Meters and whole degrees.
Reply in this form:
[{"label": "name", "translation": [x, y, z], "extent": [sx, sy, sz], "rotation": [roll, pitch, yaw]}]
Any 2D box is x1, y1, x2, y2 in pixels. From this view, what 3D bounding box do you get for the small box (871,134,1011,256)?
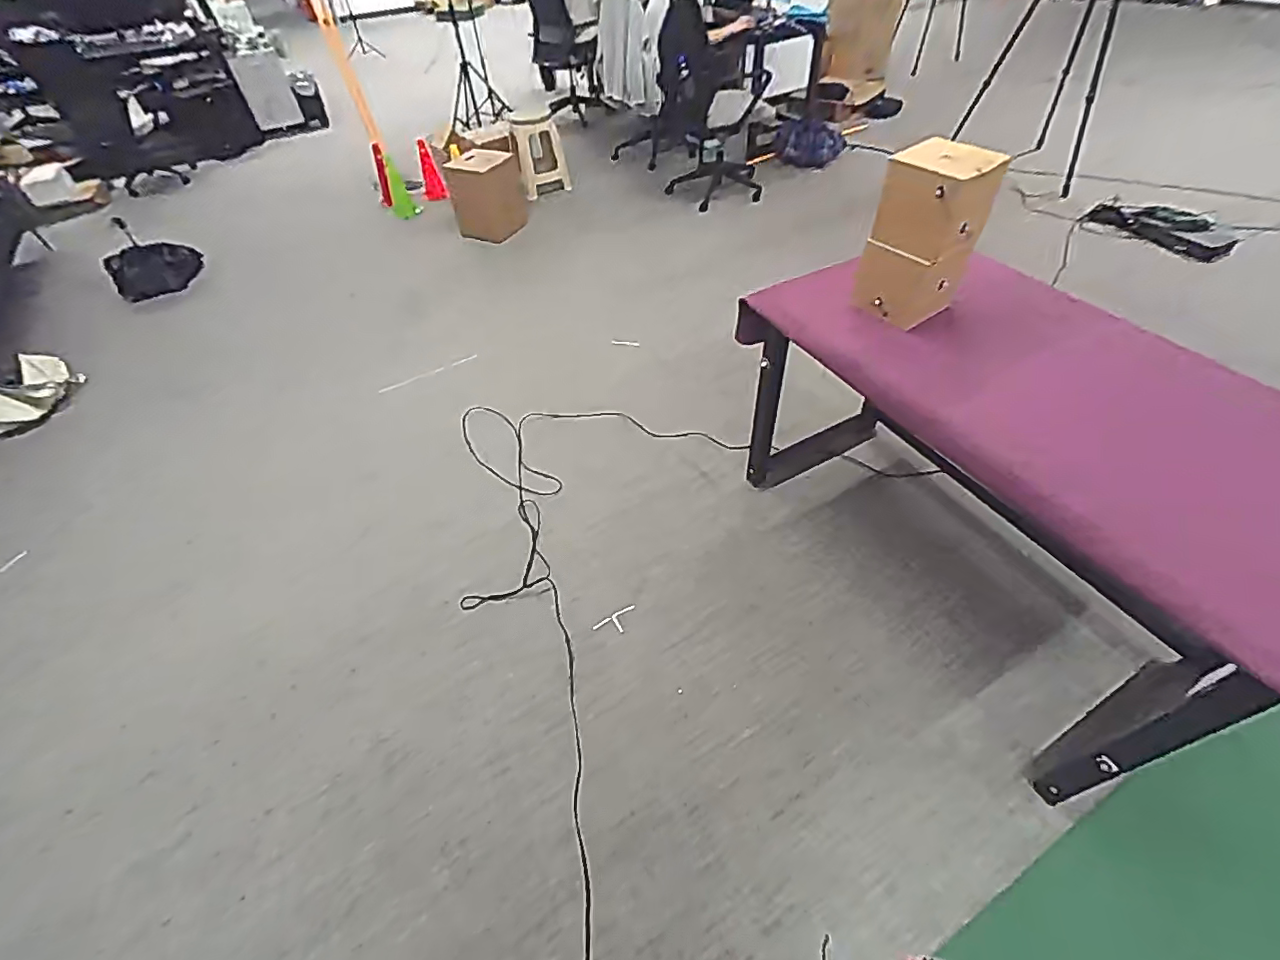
[{"label": "small box", "translation": [0.623, -0.602, 1.144], "extent": [0.168, 0.176, 0.179], "rotation": [-32, 54, -21]}]
